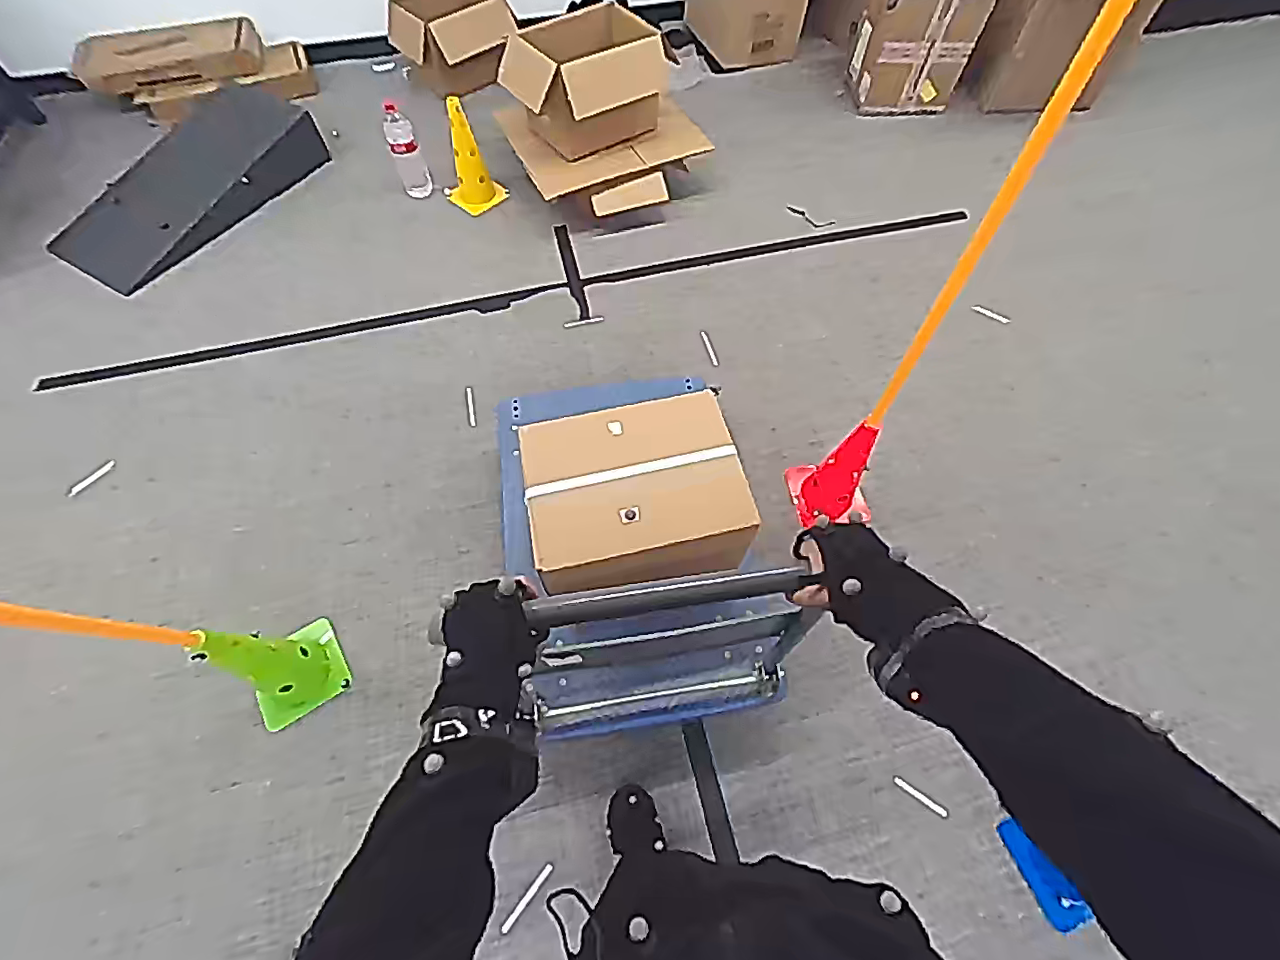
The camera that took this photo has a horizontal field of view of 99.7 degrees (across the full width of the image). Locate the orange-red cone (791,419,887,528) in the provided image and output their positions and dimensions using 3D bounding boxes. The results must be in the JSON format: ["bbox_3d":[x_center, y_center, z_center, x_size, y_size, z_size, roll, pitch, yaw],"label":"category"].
[{"bbox_3d":[0.543,-0.041,1.380,0.199,0.360,0.198,-6,62,-5],"label":"orange-red cone"}]

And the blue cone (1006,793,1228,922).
[{"bbox_3d":[0.888,0.705,0.986,0.193,0.380,0.192,-16,61,-9],"label":"blue cone"}]
